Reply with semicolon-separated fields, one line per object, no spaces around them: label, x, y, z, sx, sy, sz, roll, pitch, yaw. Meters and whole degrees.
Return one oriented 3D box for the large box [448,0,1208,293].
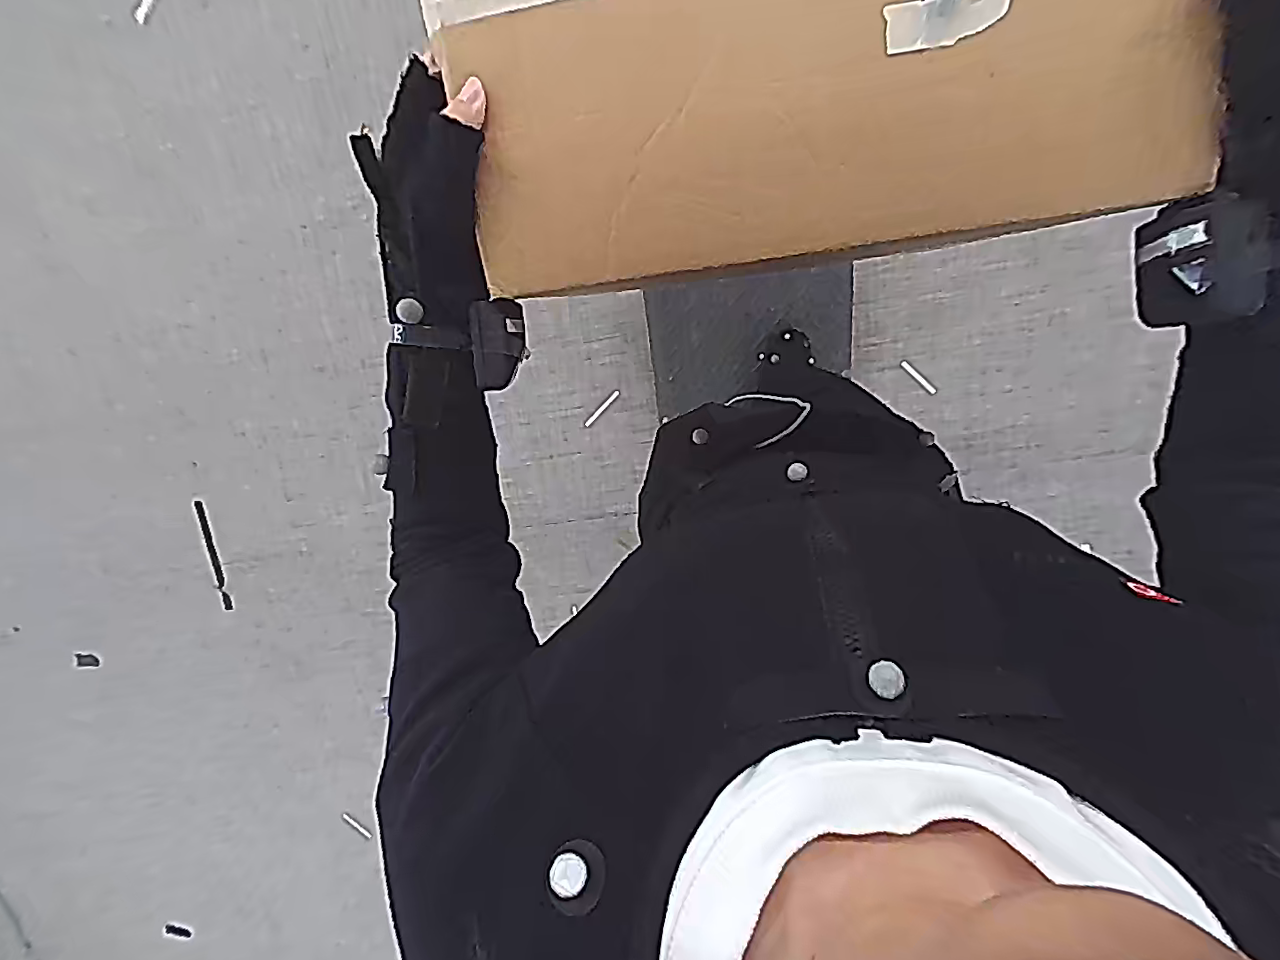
large box;0.099;-0.339;0.424;0.408;0.320;0.320;-6;109;9
